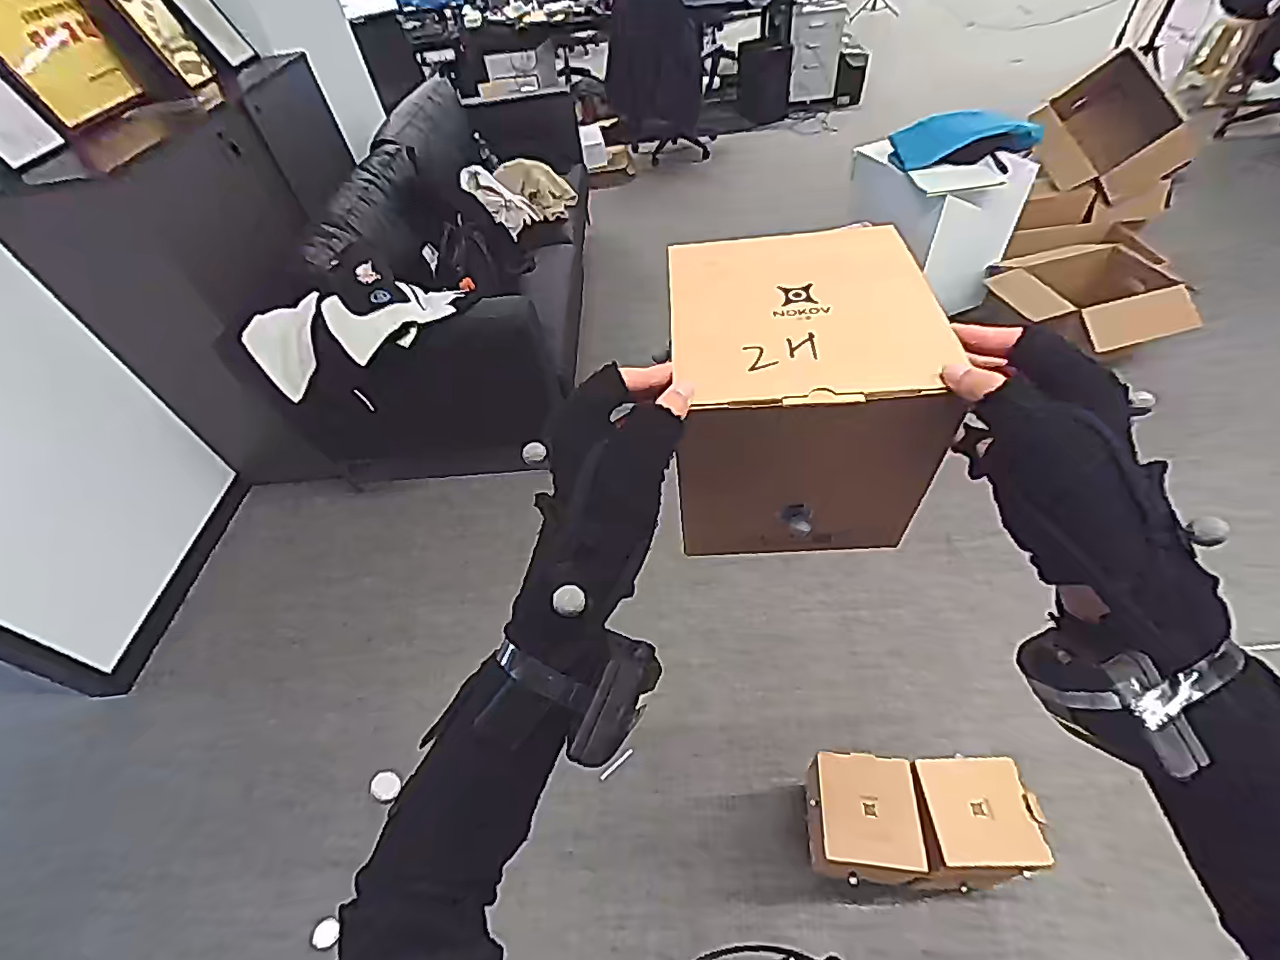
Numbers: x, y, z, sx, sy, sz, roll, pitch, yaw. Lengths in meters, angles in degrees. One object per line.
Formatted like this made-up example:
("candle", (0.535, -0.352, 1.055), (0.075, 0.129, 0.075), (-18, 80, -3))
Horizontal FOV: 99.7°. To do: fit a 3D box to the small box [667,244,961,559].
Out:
("small box", (0.108, -0.057, 0.419), (0.168, 0.176, 0.179), (-2, 50, 6))
